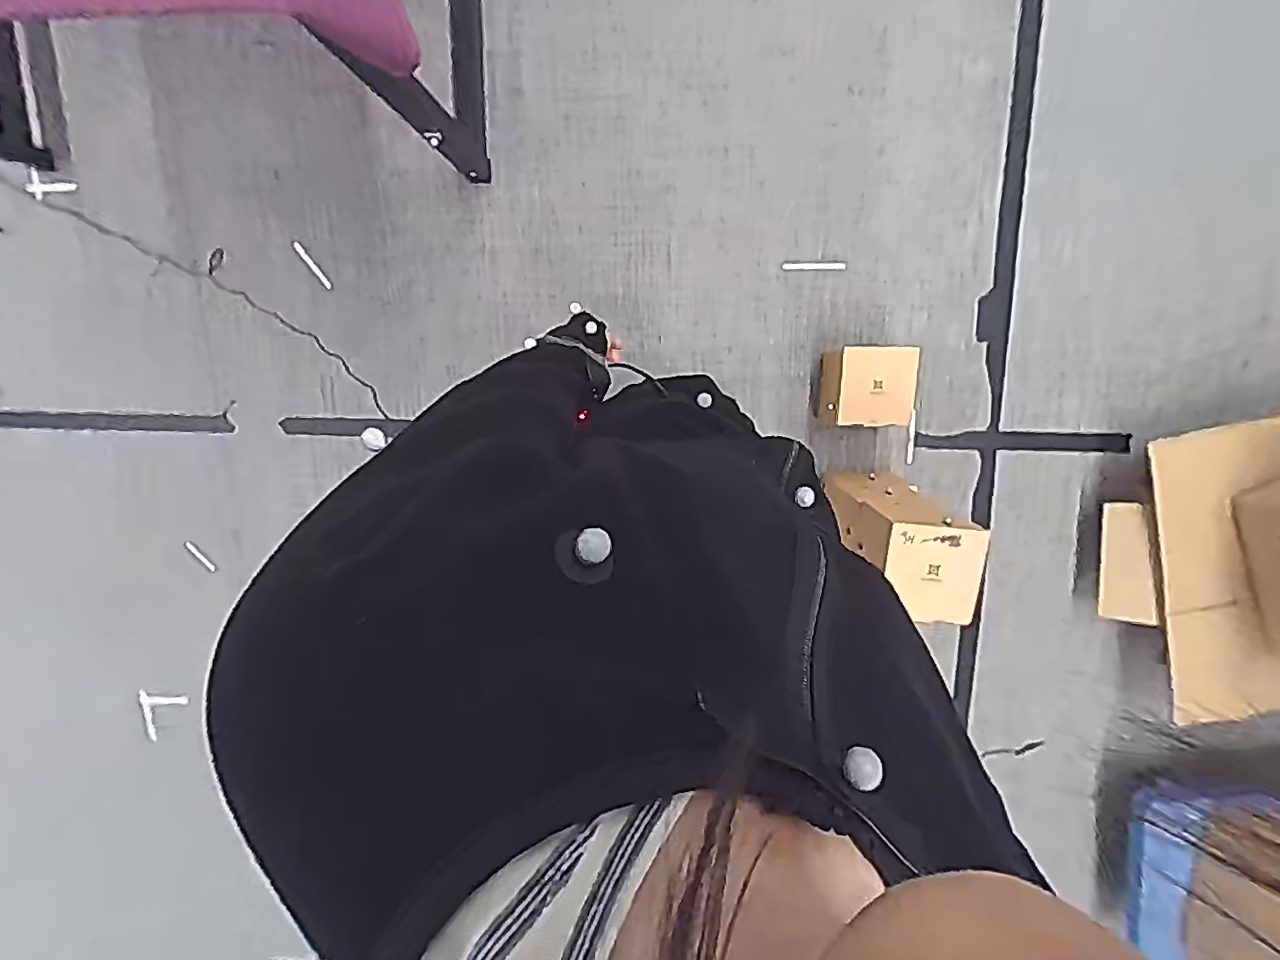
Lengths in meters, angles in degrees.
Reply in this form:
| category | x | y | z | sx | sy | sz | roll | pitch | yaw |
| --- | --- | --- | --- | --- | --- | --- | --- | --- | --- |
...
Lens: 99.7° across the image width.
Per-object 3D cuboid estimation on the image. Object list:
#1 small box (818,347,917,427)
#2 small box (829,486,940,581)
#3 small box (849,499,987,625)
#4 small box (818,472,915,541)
| category | x | y | z | sx | sy | sz | roll | pitch | yaw |
| --- | --- | --- | --- | --- | --- | --- | --- | --- | --- |
| small box | 0.529 | -0.221 | 1.282 | 0.168 | 0.176 | 0.179 | 1 | 102 | 3 |
| small box | 0.523 | 0.114 | 1.181 | 0.168 | 0.176 | 0.179 | 3 | 102 | 4 |
| small box | 0.509 | 0.147 | 1.021 | 0.168 | 0.176 | 0.179 | 6 | 103 | 2 |
| small box | 0.550 | 0.077 | 1.340 | 0.179 | 0.176 | 0.168 | 0 | 102 | 3 |
